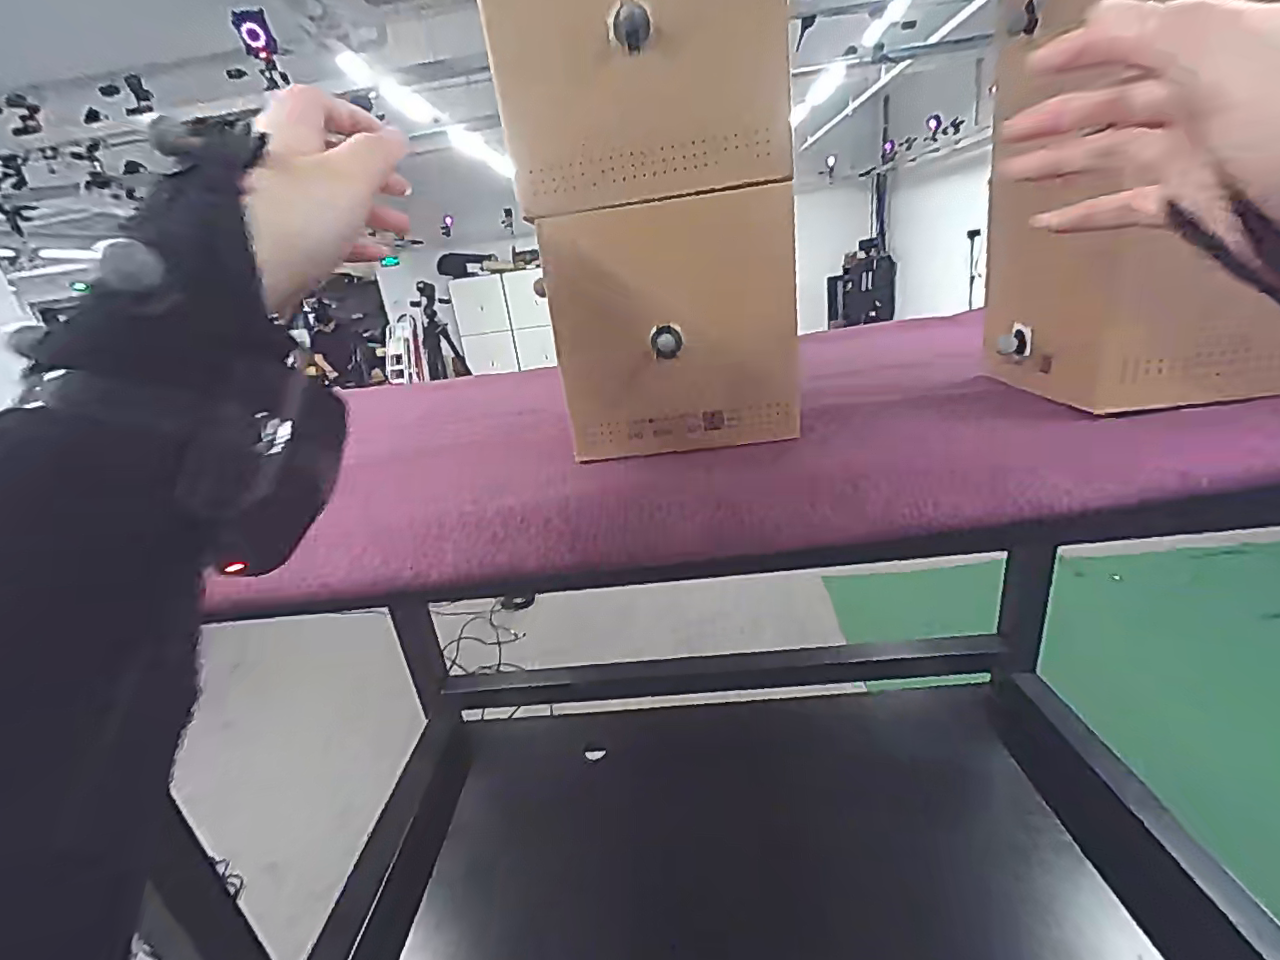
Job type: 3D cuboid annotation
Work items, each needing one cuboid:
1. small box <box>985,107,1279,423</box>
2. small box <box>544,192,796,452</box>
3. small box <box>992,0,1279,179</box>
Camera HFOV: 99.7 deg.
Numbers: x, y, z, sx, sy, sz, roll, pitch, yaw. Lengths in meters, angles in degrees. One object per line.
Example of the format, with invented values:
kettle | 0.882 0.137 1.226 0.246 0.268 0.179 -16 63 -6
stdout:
small box | 0.375 -0.146 0.385 0.179 0.176 0.168 -7 17 10
small box | 0.031 -0.124 0.451 0.168 0.176 0.179 -5 20 5
small box | 0.349 -0.301 0.341 0.179 0.176 0.168 -4 18 13
